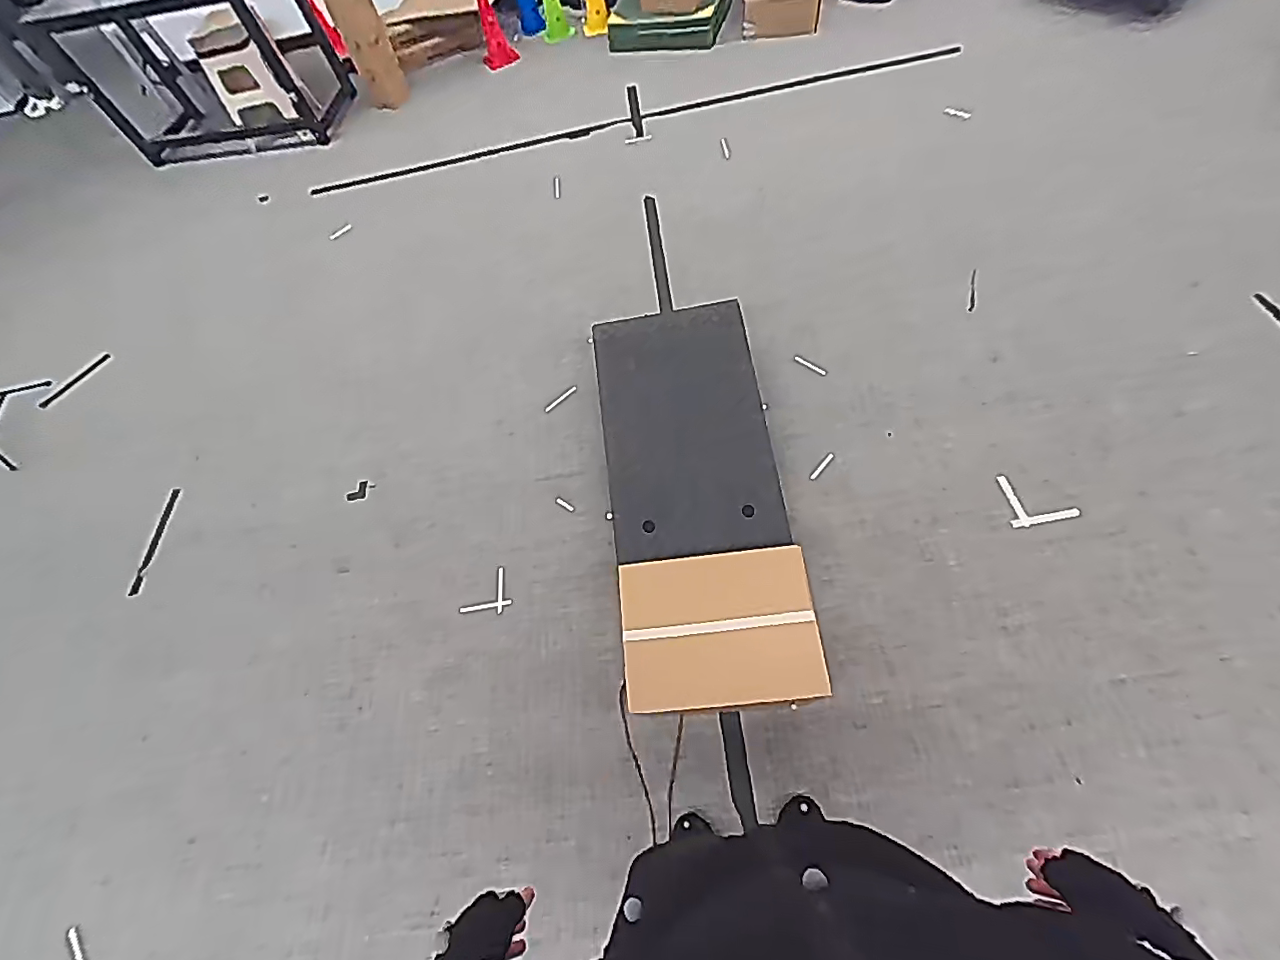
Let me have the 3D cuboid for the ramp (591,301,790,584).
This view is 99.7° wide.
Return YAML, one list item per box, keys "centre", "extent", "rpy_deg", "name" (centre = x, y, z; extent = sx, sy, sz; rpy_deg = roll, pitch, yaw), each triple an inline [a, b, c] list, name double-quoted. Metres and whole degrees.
- centre: [0.135, -0.087, 1.620]
  extent: [0.509, 0.206, 0.991]
  rpy_deg: [-9, 60, 2]
  name: "ramp"

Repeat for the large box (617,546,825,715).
- centre: [0.177, 0.370, 1.276]
  extent: [0.408, 0.320, 0.320]
  rpy_deg: [-7, 64, 5]
  name: "large box"
